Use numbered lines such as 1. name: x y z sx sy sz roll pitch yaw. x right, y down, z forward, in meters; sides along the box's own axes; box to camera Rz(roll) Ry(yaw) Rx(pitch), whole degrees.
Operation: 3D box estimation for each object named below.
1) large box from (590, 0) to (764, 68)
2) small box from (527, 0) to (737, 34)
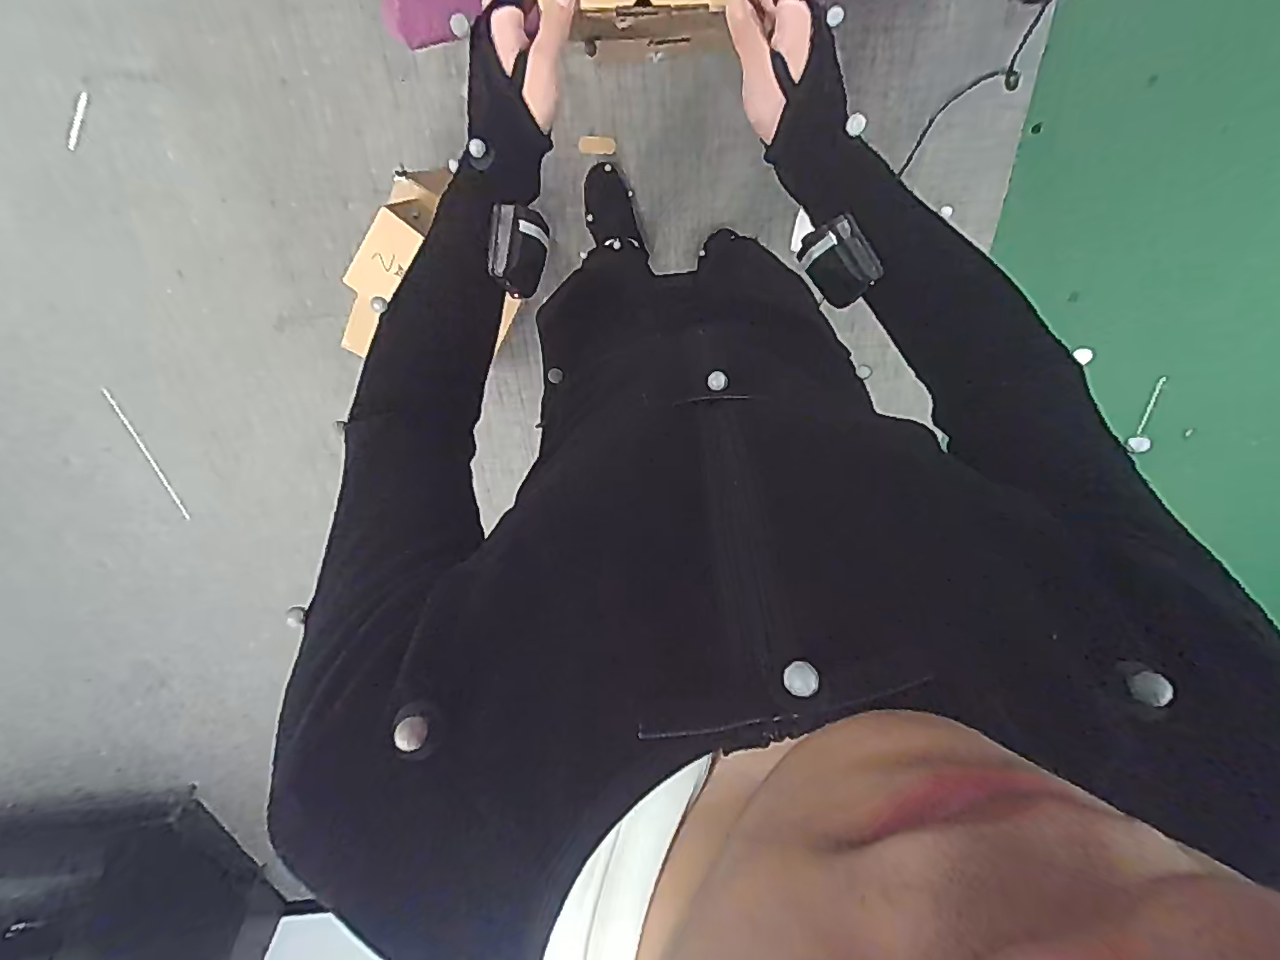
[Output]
1. large box: 0.042 -1.031 0.979 0.320 0.320 0.408 -5 120 0
2. small box: -0.007 -0.477 0.433 0.168 0.176 0.179 -2 123 0
